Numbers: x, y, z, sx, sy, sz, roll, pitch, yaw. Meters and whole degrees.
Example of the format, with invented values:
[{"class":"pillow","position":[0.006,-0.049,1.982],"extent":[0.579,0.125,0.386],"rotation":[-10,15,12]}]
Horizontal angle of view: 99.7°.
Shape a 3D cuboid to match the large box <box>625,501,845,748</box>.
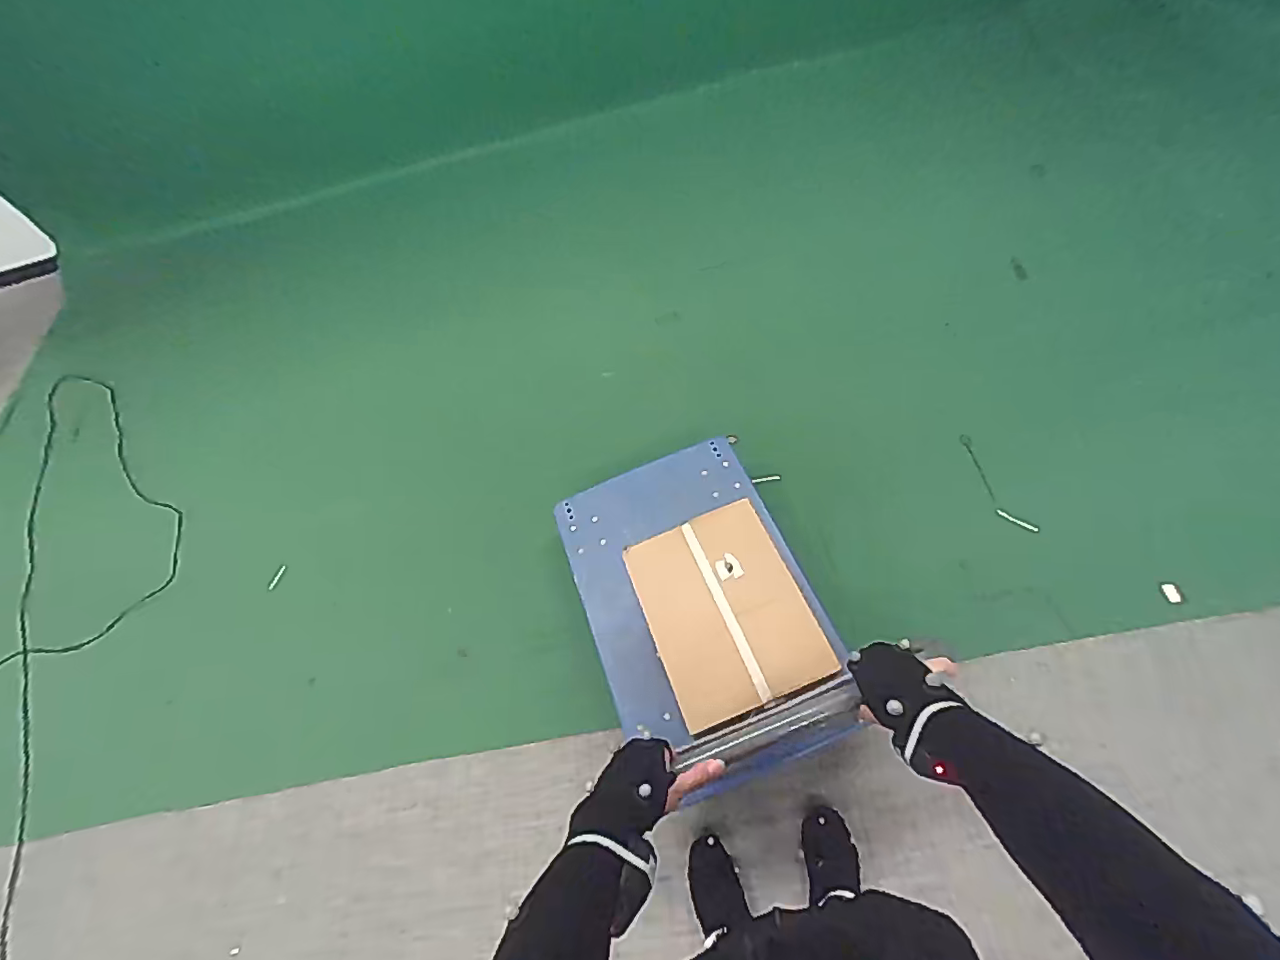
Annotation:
[{"class":"large box","position":[0.203,0.331,1.221],"extent":[0.320,0.320,0.408],"rotation":[-23,58,-2]}]
